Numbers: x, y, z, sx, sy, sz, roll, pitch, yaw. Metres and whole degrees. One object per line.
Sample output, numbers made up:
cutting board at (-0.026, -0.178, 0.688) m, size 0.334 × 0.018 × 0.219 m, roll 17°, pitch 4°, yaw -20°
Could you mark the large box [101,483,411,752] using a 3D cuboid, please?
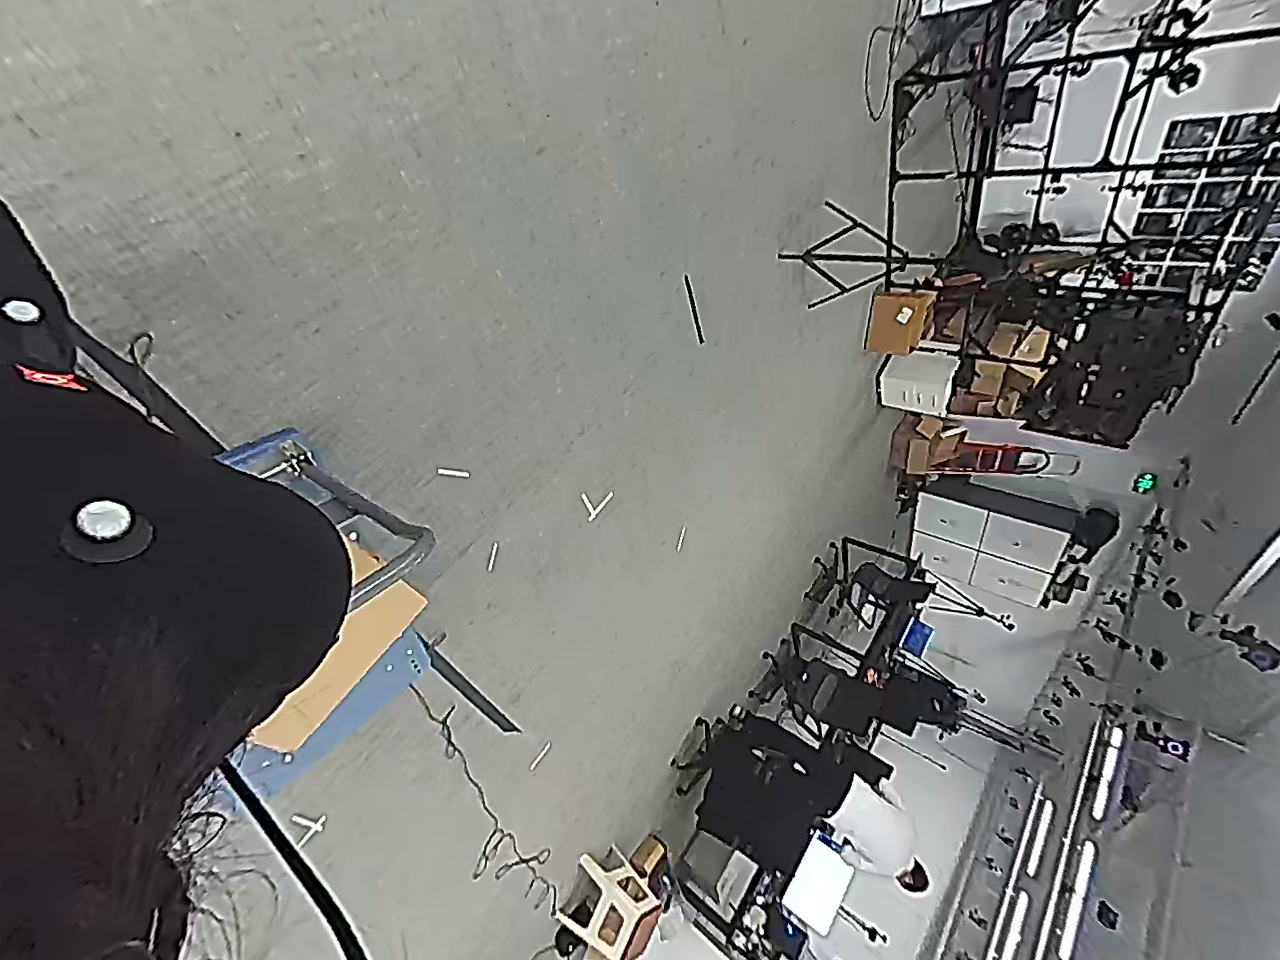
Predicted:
large box at (-0.803, 0.281, 1.168) m, size 0.408 × 0.320 × 0.320 m, roll -51°, pitch 140°, yaw -23°
